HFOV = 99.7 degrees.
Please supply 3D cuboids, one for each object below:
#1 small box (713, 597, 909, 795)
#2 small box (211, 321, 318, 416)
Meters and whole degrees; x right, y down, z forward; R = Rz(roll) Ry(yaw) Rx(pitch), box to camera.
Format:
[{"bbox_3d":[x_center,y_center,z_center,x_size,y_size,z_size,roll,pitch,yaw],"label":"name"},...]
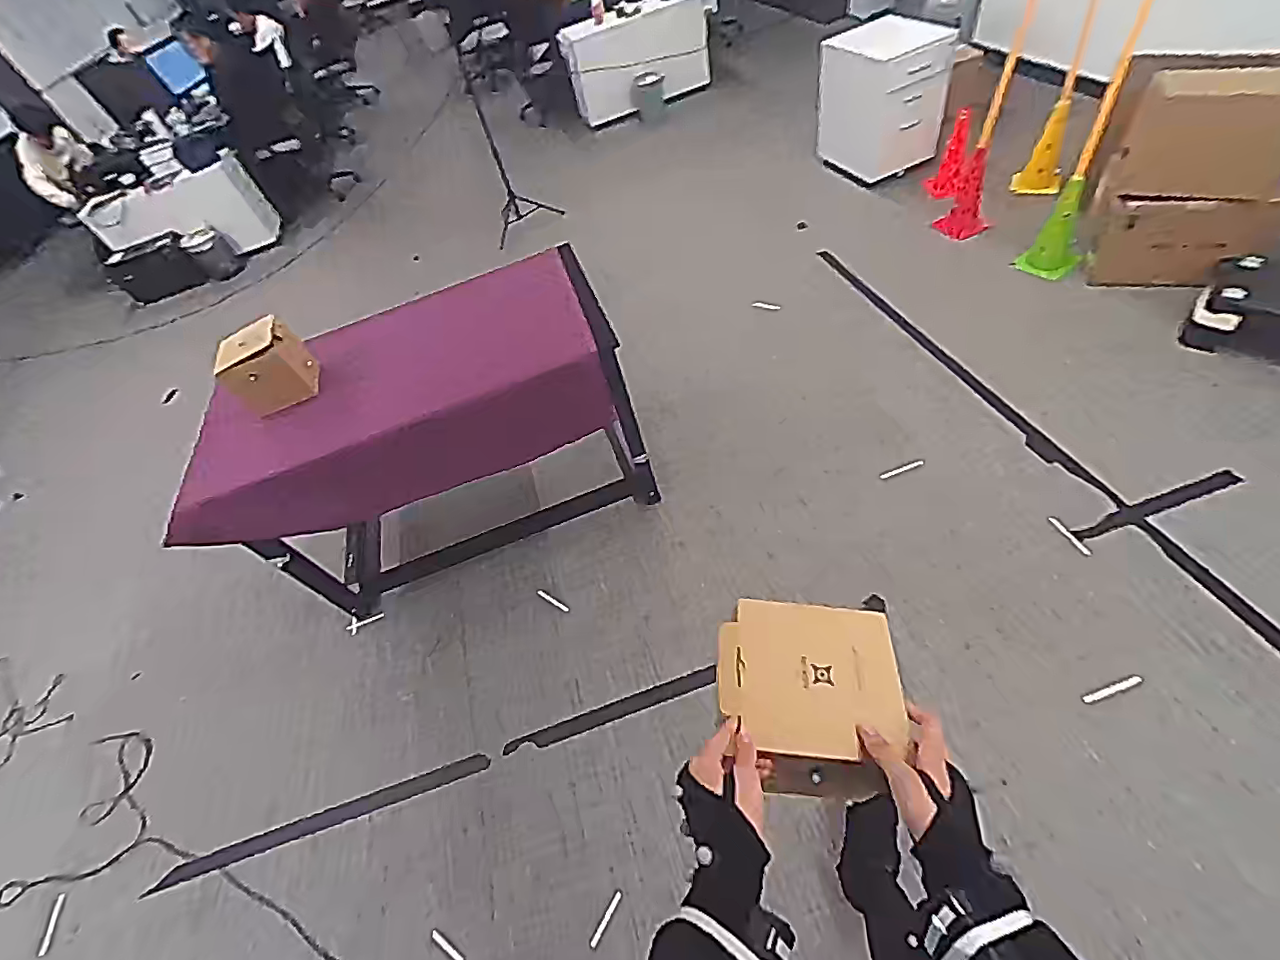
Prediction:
[{"bbox_3d":[0.181,0.258,0.638,0.179,0.176,0.168,5,49,2],"label":"small box"},{"bbox_3d":[-1.046,-0.309,1.520,0.179,0.176,0.168,-23,51,-4],"label":"small box"}]
